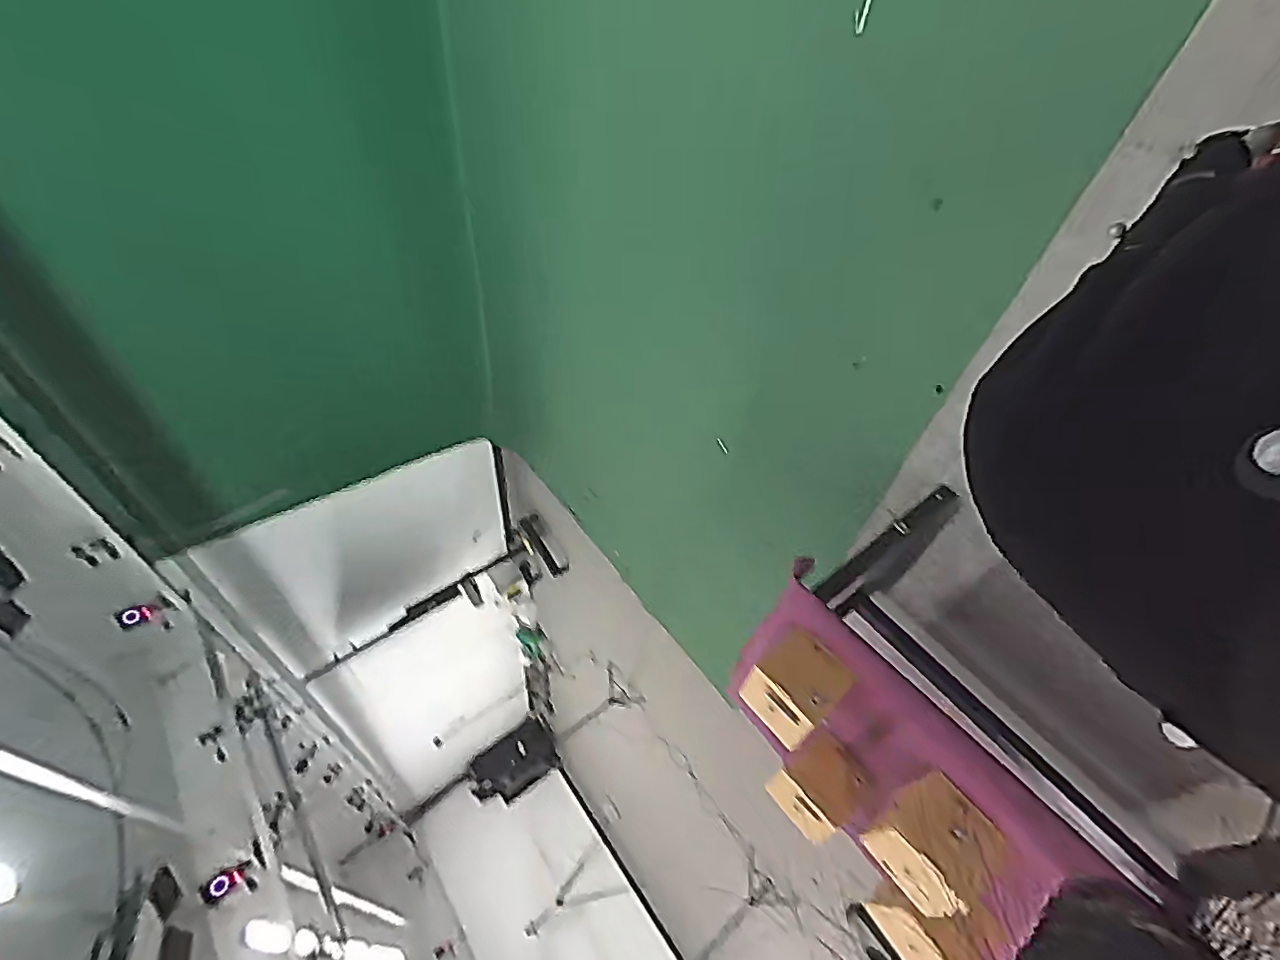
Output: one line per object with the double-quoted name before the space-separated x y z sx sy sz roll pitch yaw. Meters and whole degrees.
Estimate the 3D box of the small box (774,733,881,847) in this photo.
"small box" 0.472 0.773 1.359 0.168 0.176 0.179 44 148 31

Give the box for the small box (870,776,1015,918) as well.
"small box" 0.613 0.736 1.094 0.168 0.176 0.179 46 148 29

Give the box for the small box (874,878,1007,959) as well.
"small box" 0.673 0.979 1.205 0.168 0.176 0.179 52 150 21
